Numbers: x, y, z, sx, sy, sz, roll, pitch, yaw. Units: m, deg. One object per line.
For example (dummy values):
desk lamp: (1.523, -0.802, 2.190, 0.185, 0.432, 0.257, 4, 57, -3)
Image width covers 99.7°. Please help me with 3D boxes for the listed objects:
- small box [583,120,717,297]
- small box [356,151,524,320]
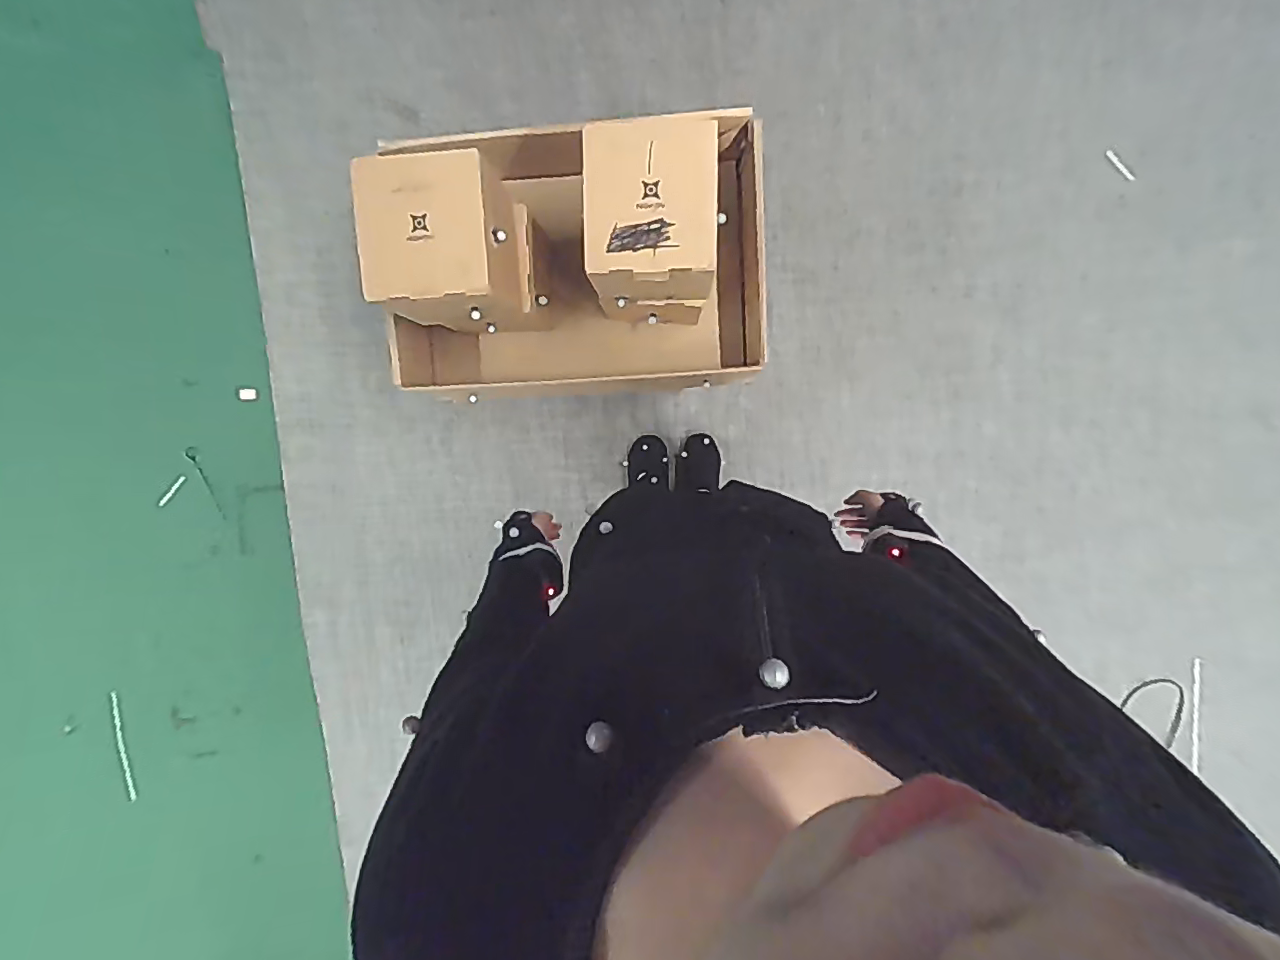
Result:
small box: (0.018, -0.353, 0.740, 0.168, 0.176, 0.179, 0, 95, 4)
small box: (-0.268, -0.328, 0.764, 0.168, 0.176, 0.179, -2, 95, 4)
